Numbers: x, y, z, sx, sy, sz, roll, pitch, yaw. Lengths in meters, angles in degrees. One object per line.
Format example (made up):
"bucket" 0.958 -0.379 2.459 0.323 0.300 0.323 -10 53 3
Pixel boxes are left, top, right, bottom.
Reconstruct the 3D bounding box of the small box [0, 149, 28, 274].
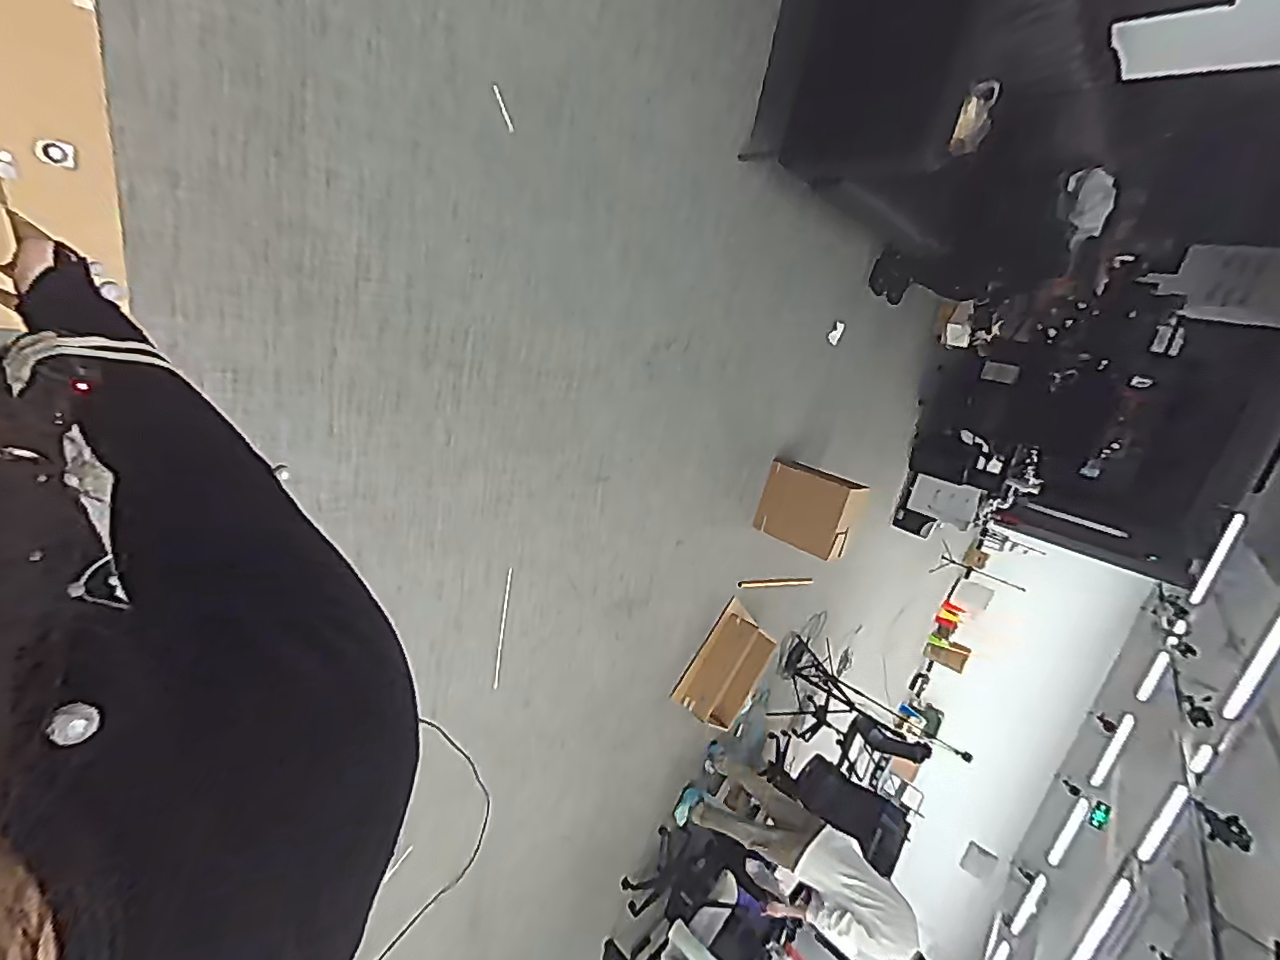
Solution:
"small box" -0.603 -0.259 0.404 0.168 0.176 0.179 -18 123 -43
